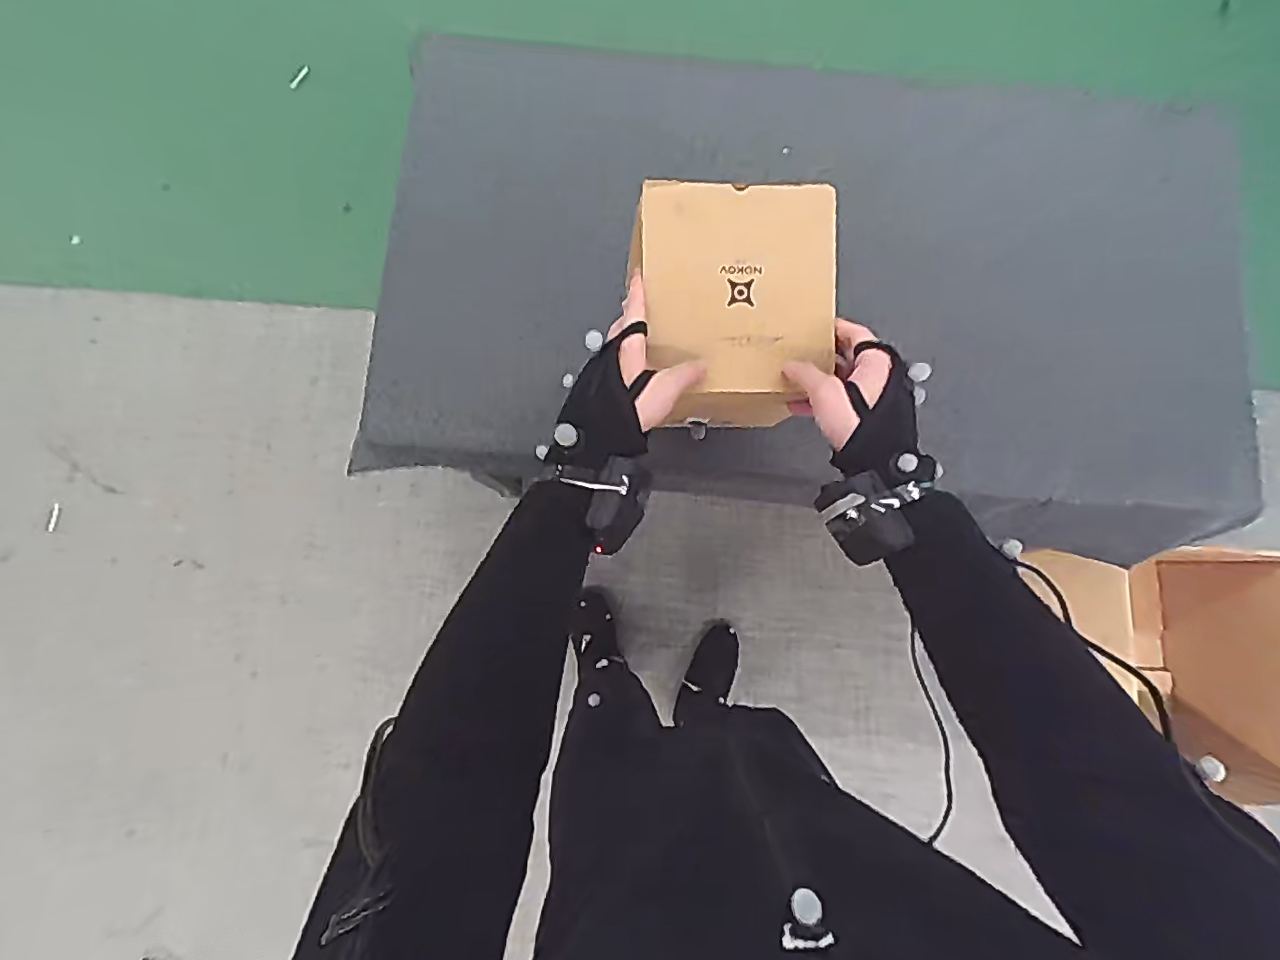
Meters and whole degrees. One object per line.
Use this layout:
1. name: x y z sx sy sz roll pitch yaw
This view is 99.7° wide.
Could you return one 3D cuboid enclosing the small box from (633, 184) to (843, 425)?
1. small box: 0.082 -0.157 0.534 0.168 0.176 0.179 -1 86 -5
